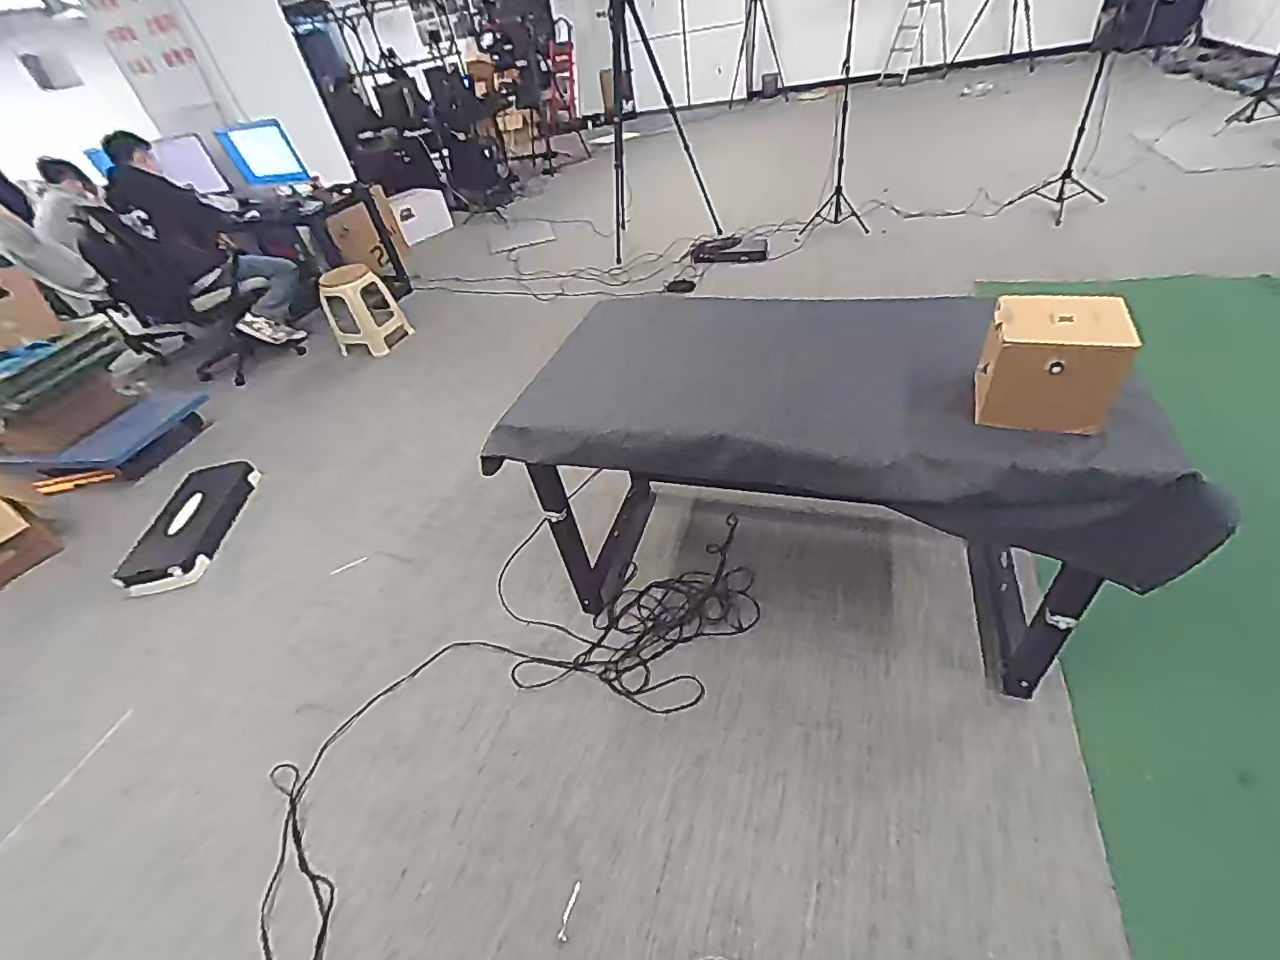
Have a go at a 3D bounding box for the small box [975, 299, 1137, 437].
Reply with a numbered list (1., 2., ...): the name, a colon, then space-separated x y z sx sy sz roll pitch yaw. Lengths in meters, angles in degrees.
1. small box: 0.682 -0.190 0.912 0.179 0.176 0.168 10 46 23
